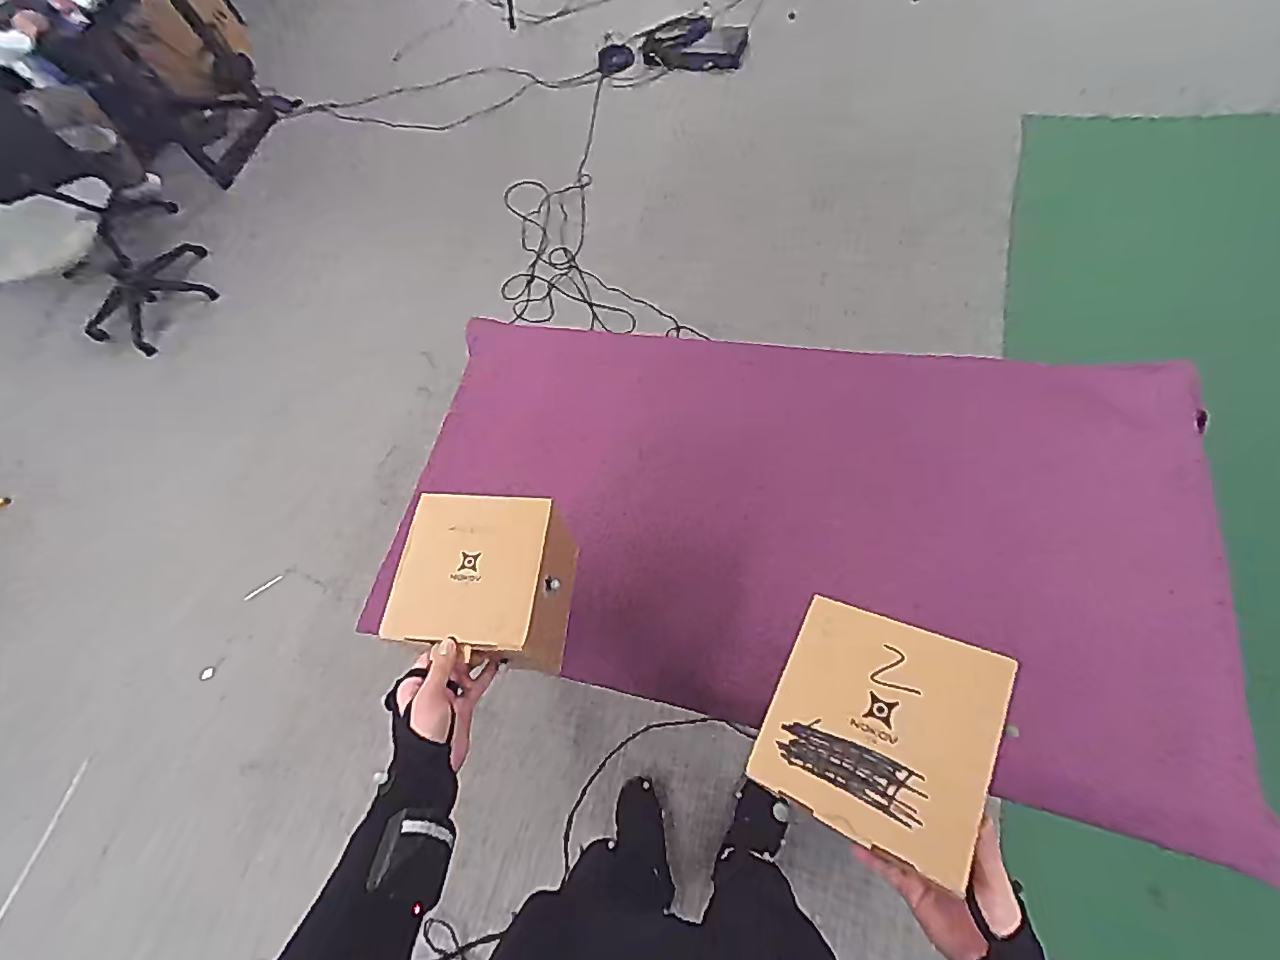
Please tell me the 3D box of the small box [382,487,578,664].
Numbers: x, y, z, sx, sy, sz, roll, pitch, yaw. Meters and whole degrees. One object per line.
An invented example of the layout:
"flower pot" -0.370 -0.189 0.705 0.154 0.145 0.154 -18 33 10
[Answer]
"small box" -0.182 0.127 0.681 0.168 0.176 0.179 3 62 8
